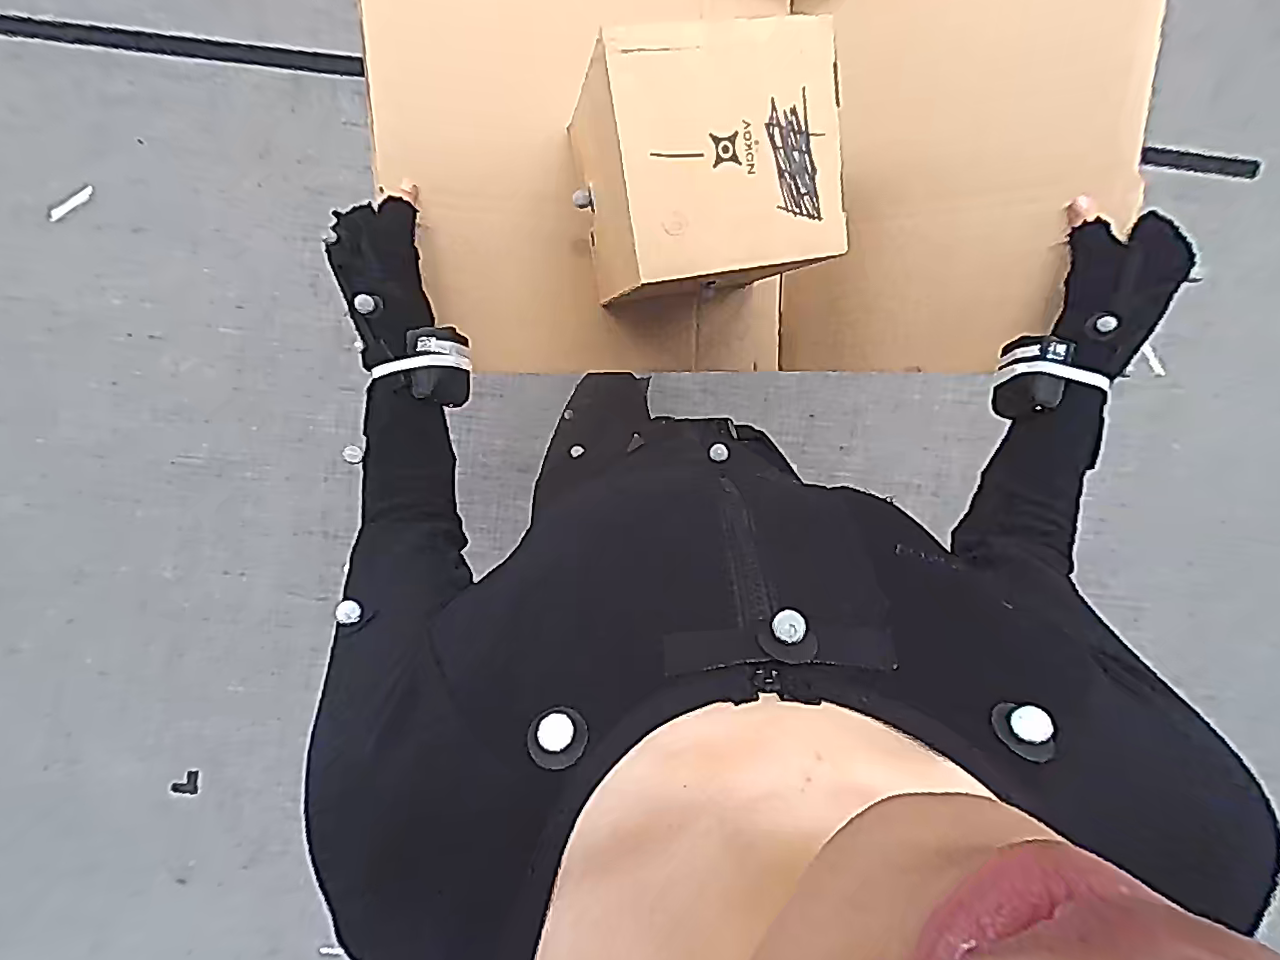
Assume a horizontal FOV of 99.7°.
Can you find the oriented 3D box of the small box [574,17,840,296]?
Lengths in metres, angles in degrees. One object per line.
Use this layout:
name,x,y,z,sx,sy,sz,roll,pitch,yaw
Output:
small box,0.050,-0.266,0.479,0.179,0.176,0.168,-13,105,-11
